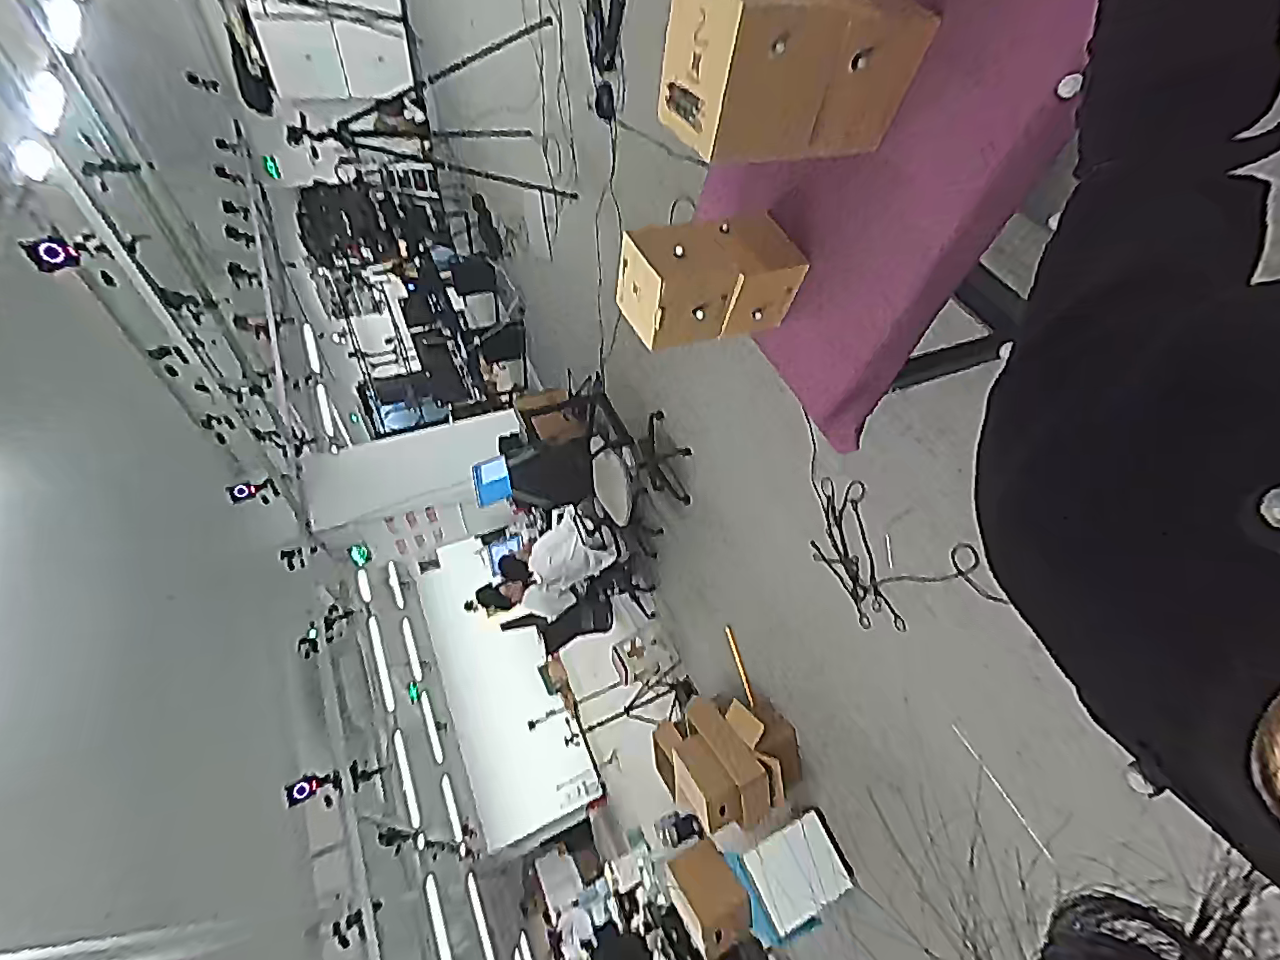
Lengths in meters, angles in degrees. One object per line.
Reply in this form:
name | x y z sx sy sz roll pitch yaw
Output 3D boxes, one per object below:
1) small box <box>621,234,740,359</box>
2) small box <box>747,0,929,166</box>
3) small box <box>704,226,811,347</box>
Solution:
small box | 0.078 -0.377 1.096 0.179 0.176 0.168 60 155 31
small box | 0.296 -0.612 0.818 0.168 0.176 0.179 63 157 27
small box | 0.229 -0.416 1.149 0.179 0.176 0.168 63 157 26
